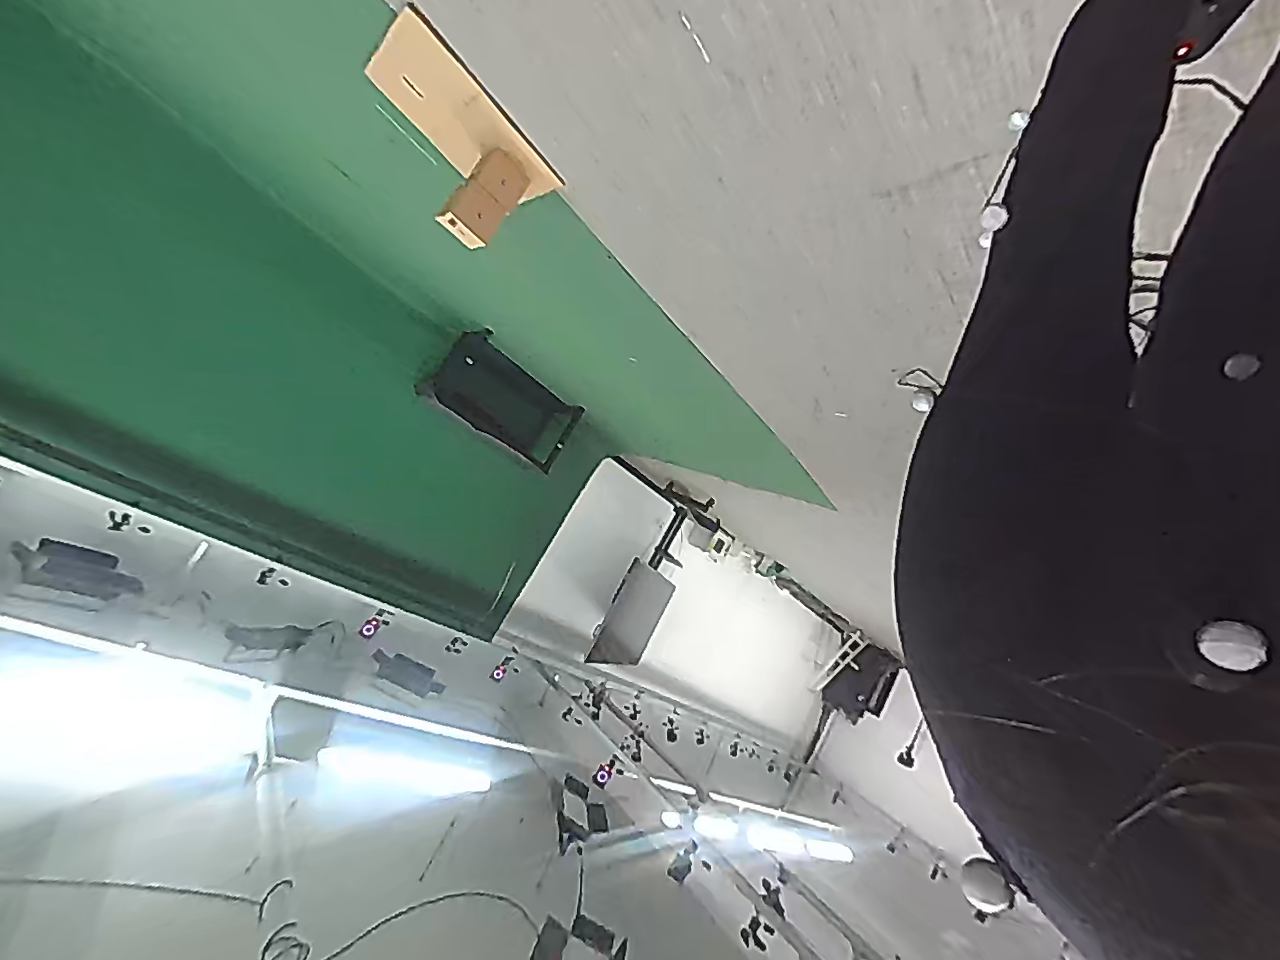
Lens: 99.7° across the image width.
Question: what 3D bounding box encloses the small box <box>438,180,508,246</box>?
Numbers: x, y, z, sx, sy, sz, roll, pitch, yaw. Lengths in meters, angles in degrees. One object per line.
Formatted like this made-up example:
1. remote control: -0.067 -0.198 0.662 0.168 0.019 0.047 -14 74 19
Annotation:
1. small box: -0.669 -1.075 2.171 0.168 0.176 0.179 20 169 47
